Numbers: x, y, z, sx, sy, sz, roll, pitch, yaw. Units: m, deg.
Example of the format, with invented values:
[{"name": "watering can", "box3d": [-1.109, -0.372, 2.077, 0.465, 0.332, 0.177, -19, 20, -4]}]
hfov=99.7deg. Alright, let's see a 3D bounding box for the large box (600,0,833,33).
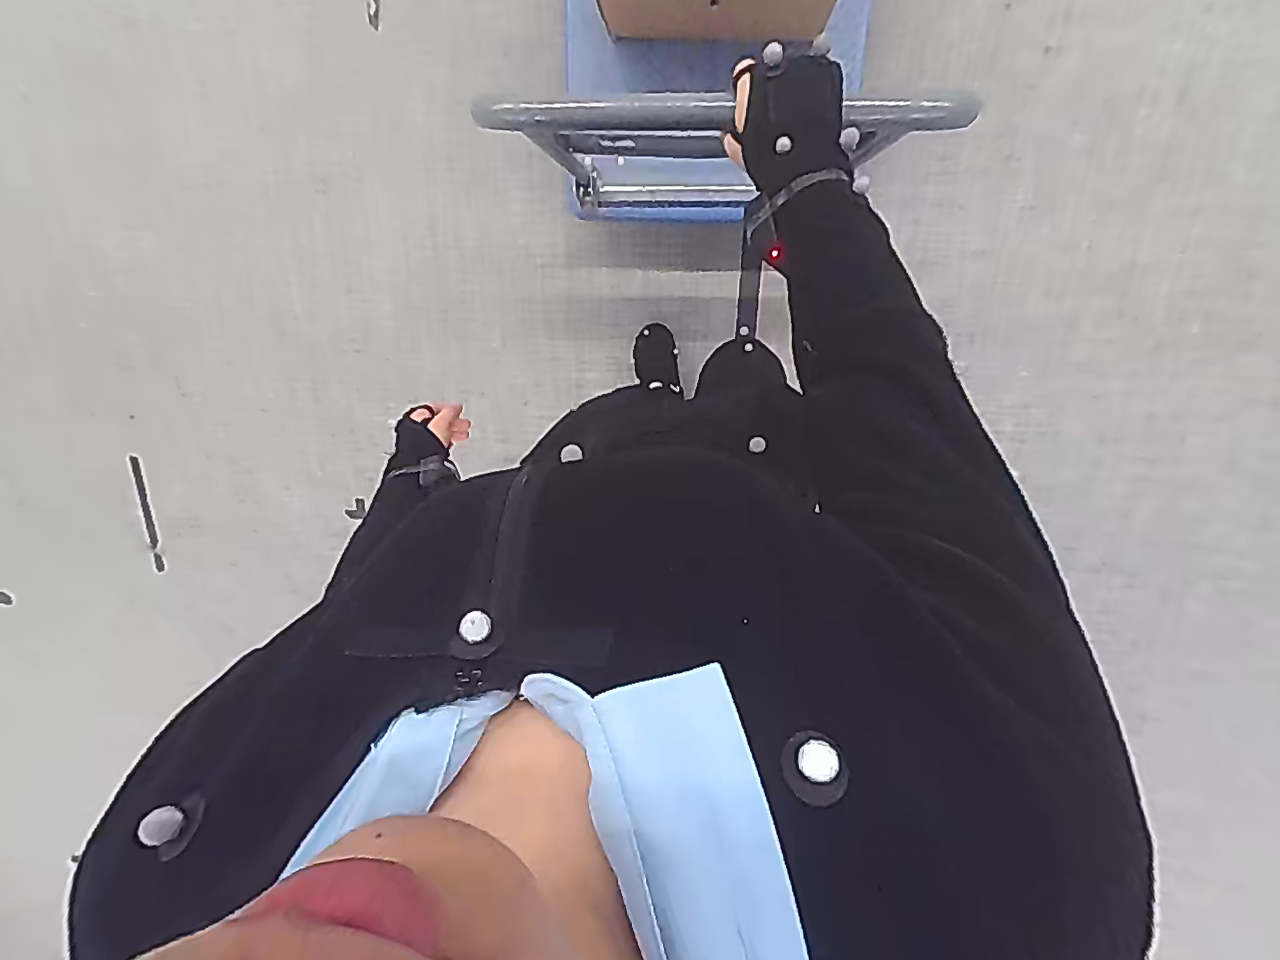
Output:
[{"name": "large box", "box3d": [0.128, -0.949, 0.838, 0.408, 0.320, 0.320, 5, 107, 6]}]
